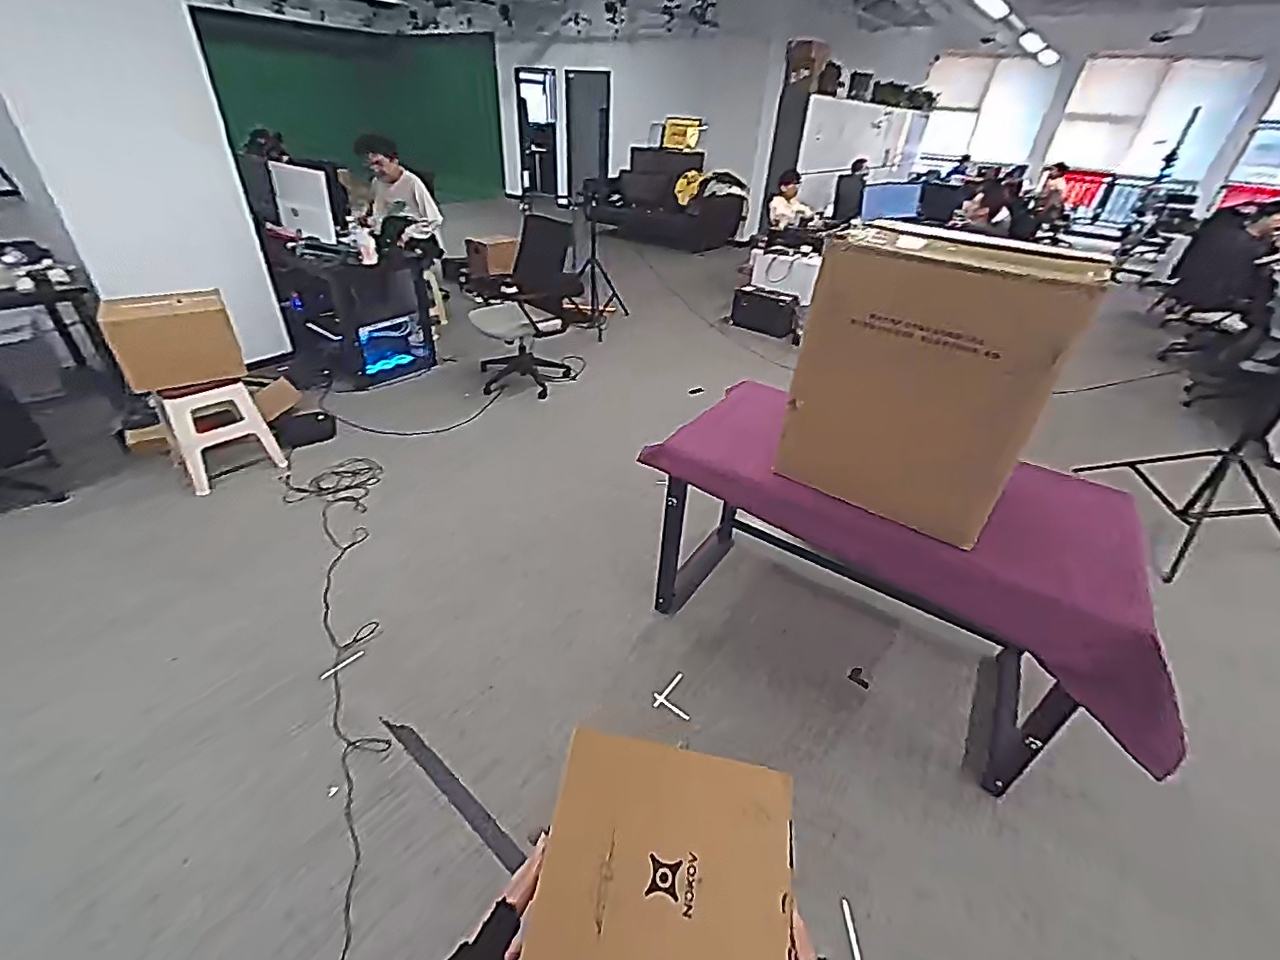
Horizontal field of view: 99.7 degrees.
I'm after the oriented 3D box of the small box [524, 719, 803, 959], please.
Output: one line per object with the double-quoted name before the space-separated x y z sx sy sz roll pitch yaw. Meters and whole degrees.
"small box" 0.014 0.311 0.429 0.179 0.176 0.168 12 52 -1
